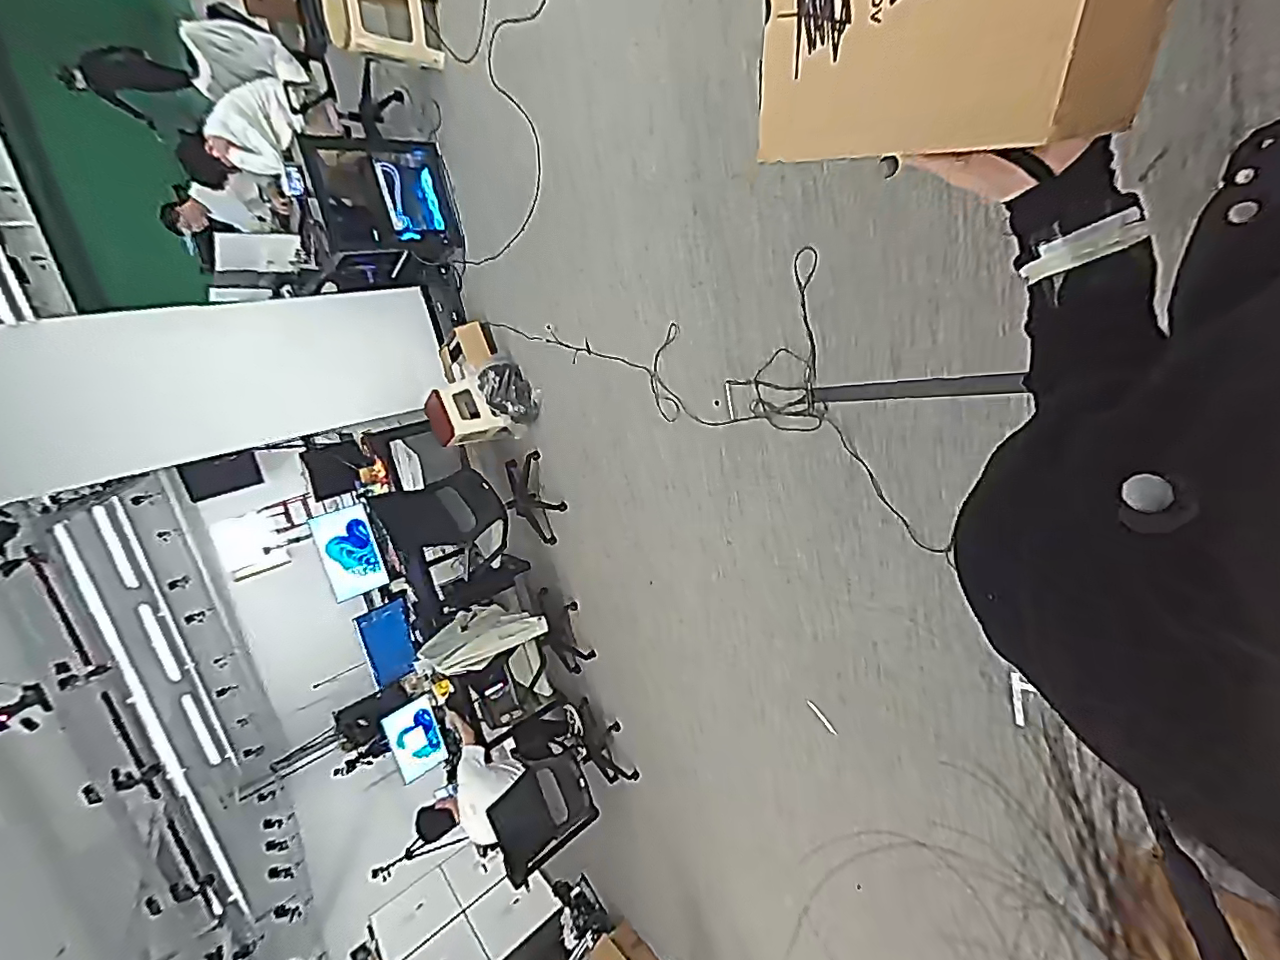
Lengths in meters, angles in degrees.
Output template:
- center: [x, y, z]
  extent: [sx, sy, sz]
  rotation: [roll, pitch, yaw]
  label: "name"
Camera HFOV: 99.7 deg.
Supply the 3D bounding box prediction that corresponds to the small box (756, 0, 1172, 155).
- center: [0.192, -0.294, 0.318]
  extent: [0.179, 0.176, 0.168]
  rotation: [27, 134, 41]
  label: "small box"
